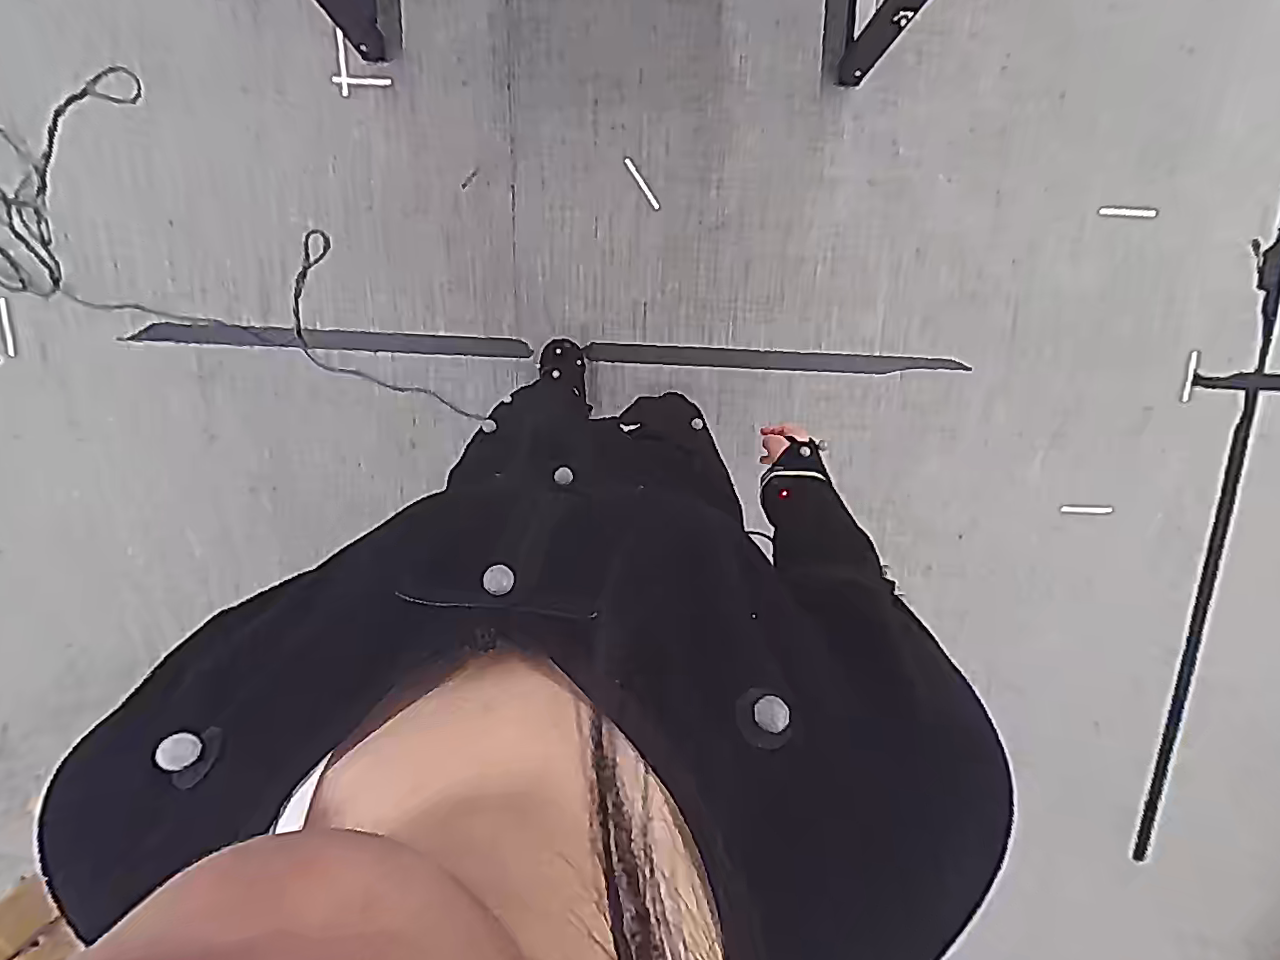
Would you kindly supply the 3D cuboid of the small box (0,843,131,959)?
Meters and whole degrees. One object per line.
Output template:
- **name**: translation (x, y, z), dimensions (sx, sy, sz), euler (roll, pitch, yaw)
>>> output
- **small box**: translation (-1.181, 0.874, 1.063), dimensions (0.179, 0.176, 0.168), euler (-39, 100, 6)
